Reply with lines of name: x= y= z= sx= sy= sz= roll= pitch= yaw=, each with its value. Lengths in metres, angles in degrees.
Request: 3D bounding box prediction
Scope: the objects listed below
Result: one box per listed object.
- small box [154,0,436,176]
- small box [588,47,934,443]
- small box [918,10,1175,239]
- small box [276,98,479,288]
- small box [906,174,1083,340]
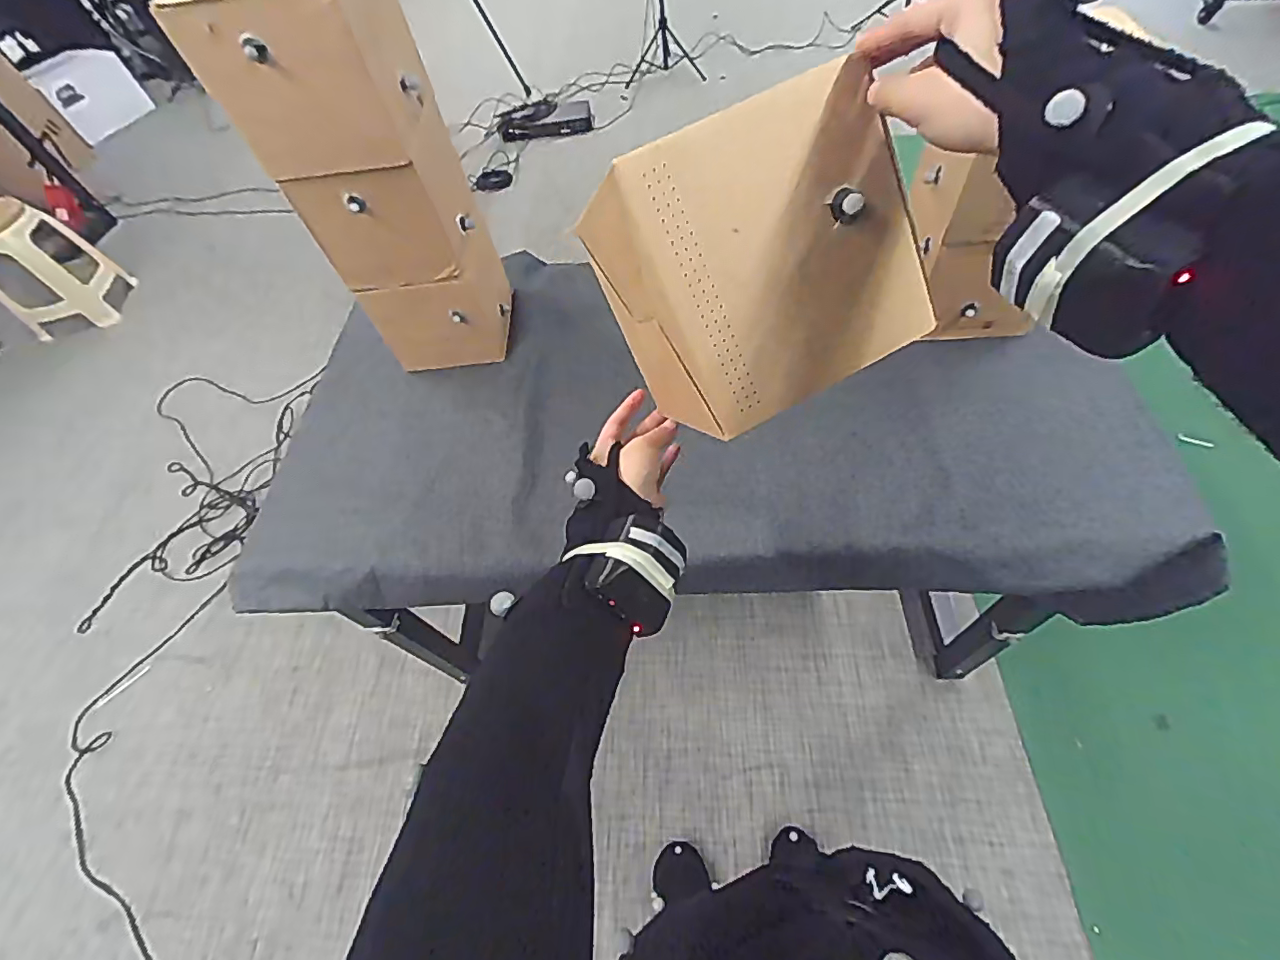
small box: x=-0.358 y=-0.466 z=0.602 sx=0.179 sy=0.176 sz=0.168 roll=-4 pitch=59 yaw=5
small box: x=0.069 y=-0.151 z=0.399 sx=0.176 sy=0.179 sz=0.168 roll=-27 pitch=17 yaw=0
small box: x=0.452 y=-0.406 z=0.640 sx=0.168 sy=0.176 sz=0.179 roll=0 pitch=59 yaw=8
small box: x=-0.343 y=-0.387 z=0.746 sx=0.179 sy=0.176 sz=0.168 roll=-5 pitch=59 yaw=3
small box: x=0.476 y=-0.325 z=0.780 sx=0.168 sy=0.176 sz=0.179 roll=-1 pitch=59 yaw=8
